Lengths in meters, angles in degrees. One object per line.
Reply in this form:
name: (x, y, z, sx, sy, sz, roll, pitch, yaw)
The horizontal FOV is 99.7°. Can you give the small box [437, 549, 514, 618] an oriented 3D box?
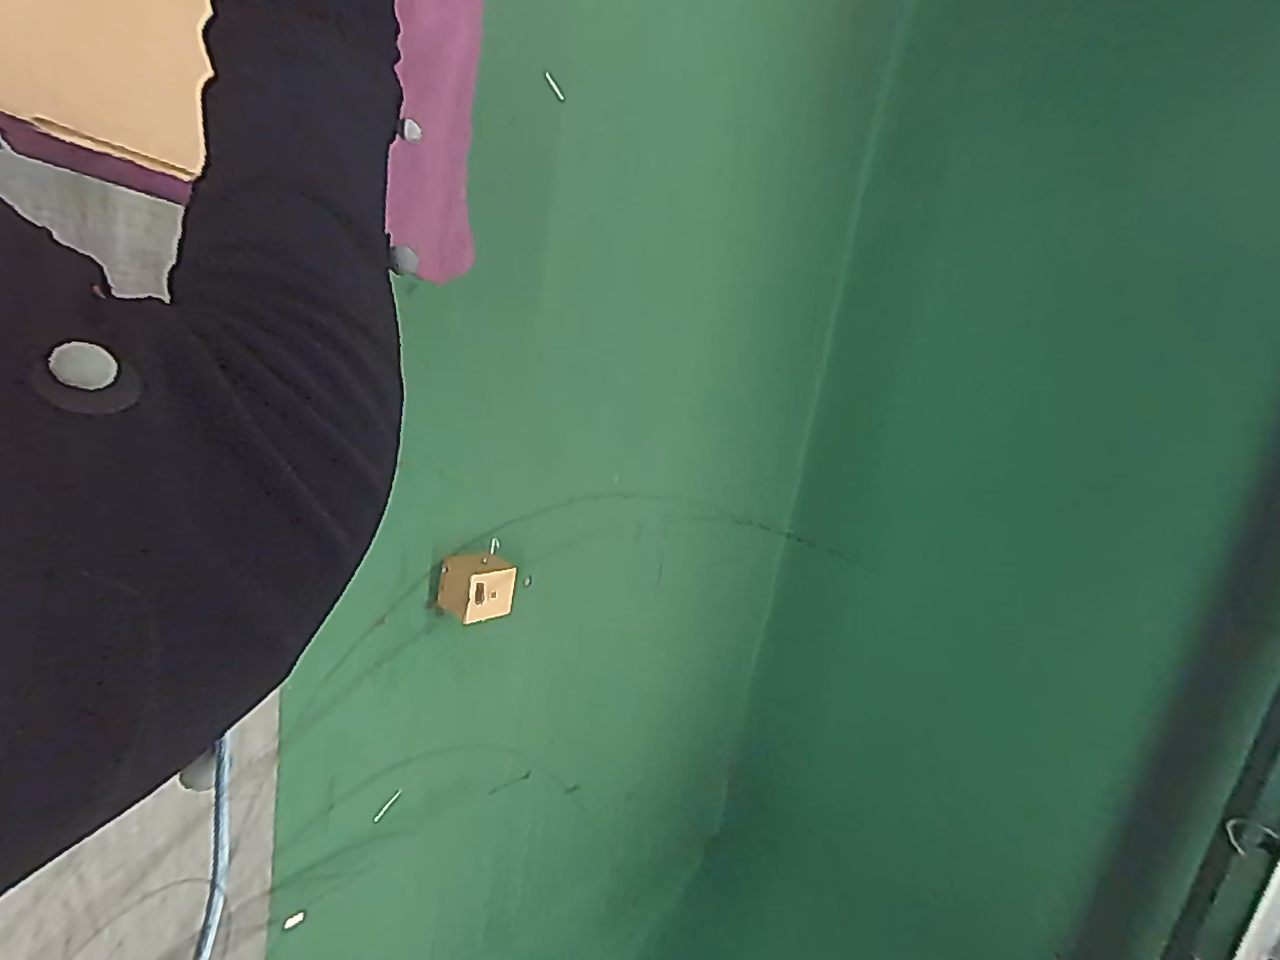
small box: (-0.550, 0.339, 1.798, 0.179, 0.176, 0.168, 0, 105, -51)
